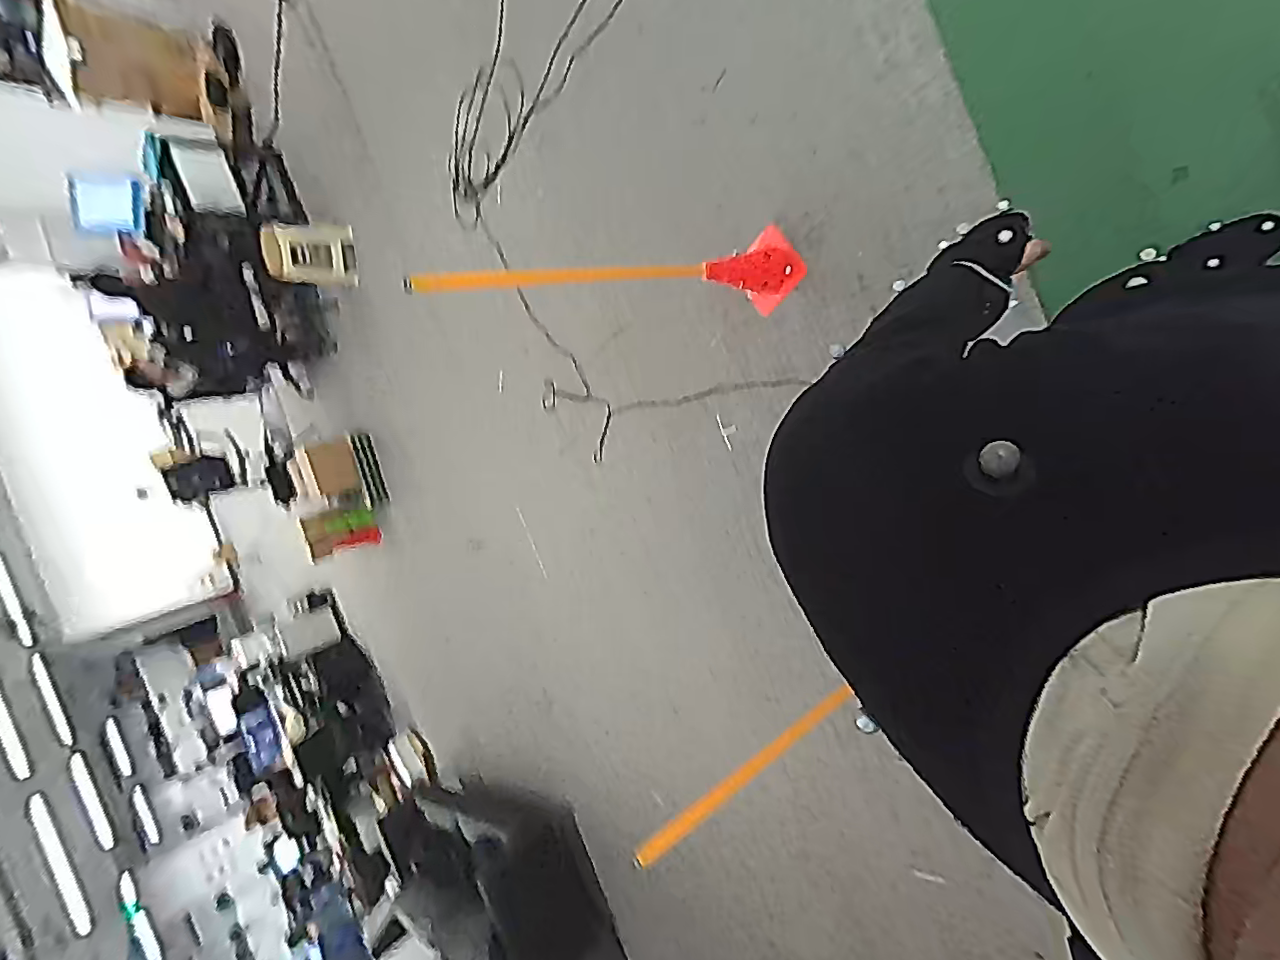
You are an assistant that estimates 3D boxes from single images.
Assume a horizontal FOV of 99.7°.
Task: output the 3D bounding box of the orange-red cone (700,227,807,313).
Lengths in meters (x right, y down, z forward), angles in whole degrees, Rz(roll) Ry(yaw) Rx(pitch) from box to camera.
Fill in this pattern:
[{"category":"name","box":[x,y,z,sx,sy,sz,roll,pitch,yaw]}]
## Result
[{"category":"orange-red cone","box":[0.296,-0.620,1.593,0.198,0.360,0.199,-42,74,44]}]
